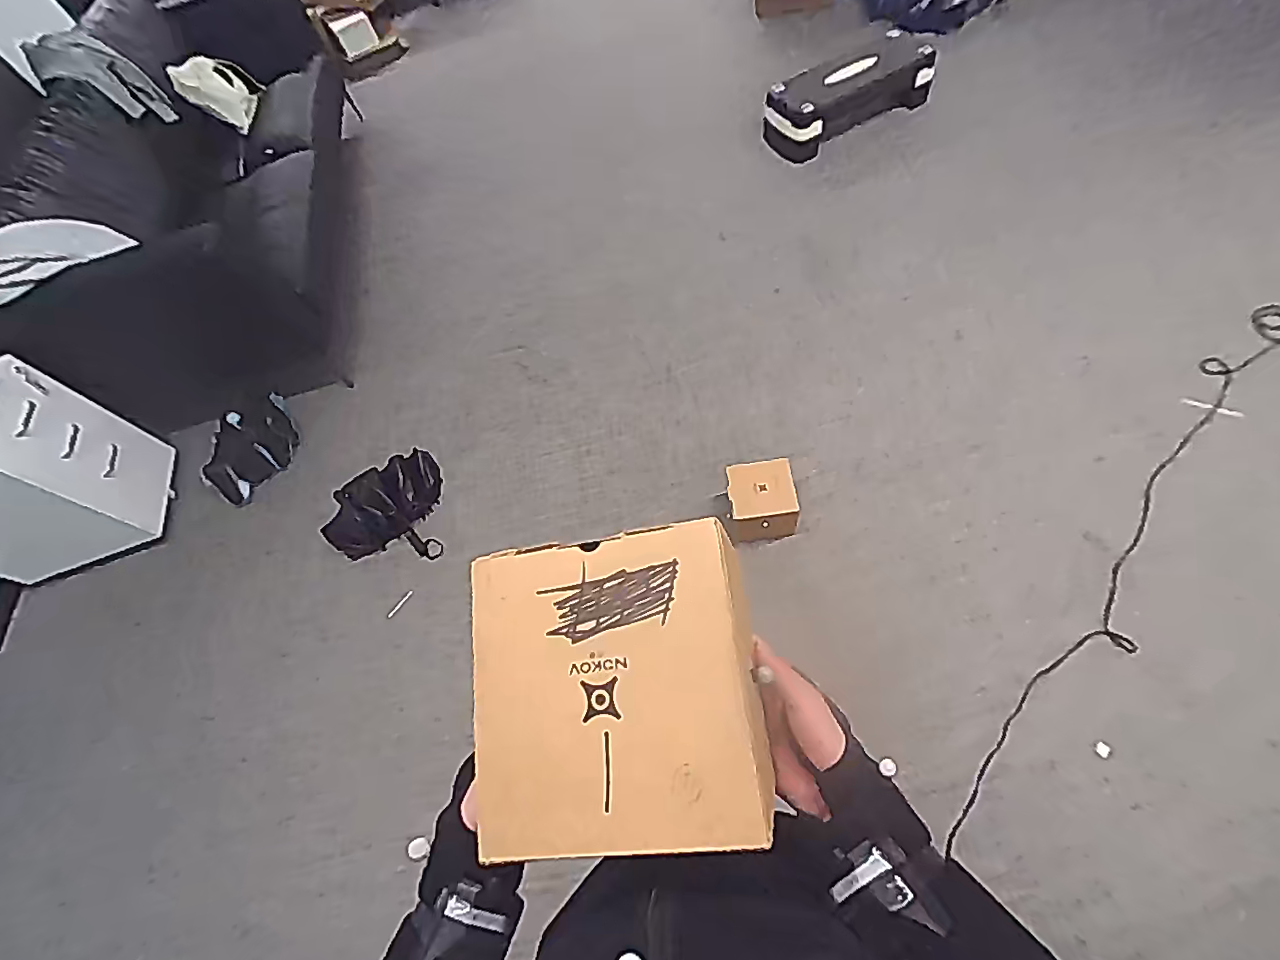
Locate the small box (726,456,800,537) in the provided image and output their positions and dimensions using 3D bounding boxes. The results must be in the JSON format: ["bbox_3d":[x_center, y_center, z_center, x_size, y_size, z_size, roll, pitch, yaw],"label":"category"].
[{"bbox_3d":[0.347,0.052,1.538,0.179,0.176,0.168,-9,62,6],"label":"small box"}]

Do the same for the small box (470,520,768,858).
[{"bbox_3d":[-0.005,0.141,0.390,0.168,0.176,0.179,-11,72,12],"label":"small box"}]
